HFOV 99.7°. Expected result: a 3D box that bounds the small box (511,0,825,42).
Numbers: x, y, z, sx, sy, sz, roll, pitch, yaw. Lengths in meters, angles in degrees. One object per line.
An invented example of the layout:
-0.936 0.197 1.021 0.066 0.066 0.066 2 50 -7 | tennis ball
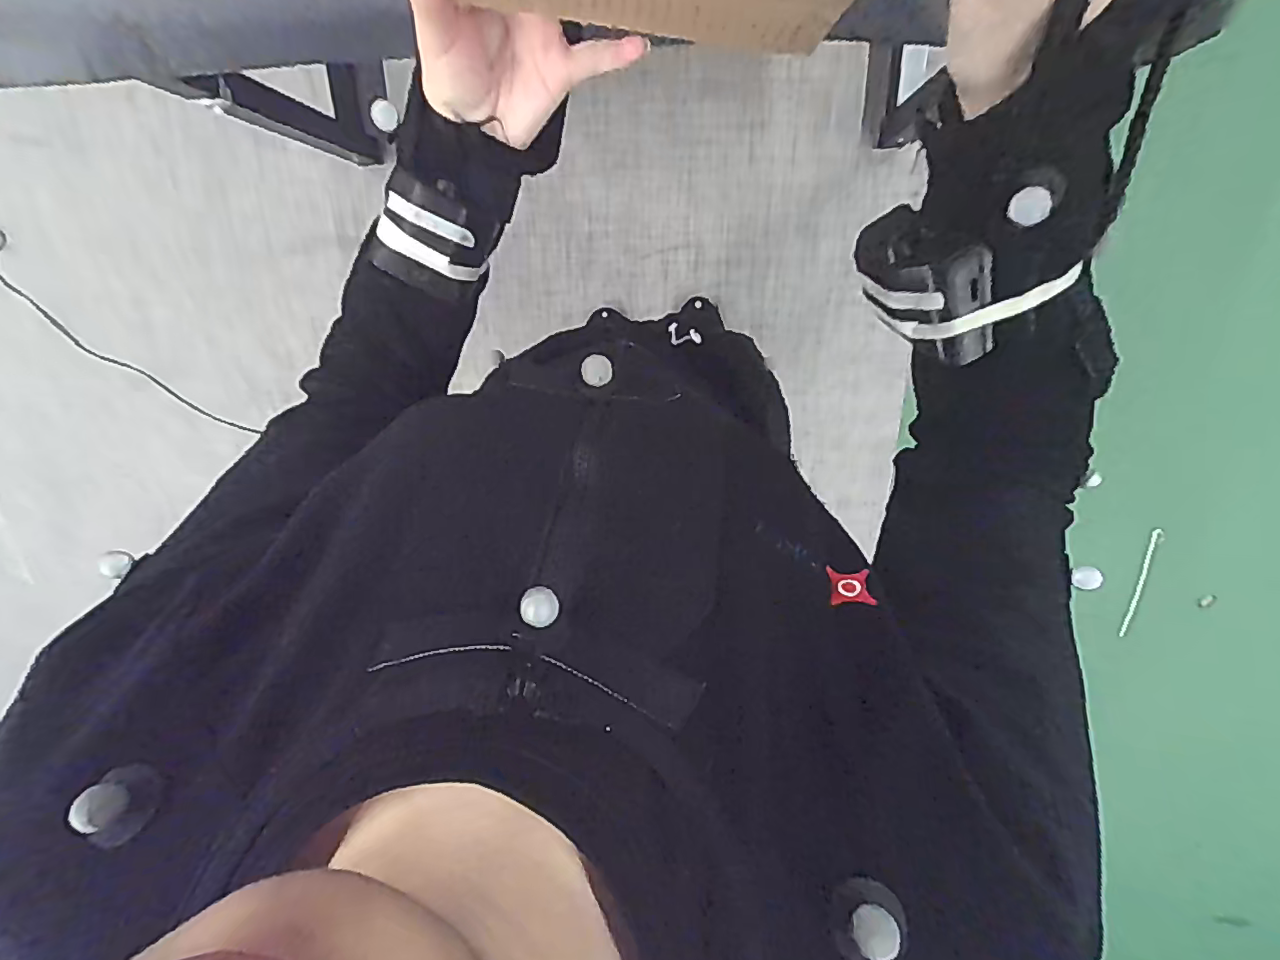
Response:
0.009 -0.261 0.151 0.179 0.176 0.168 5 110 -5 | small box
